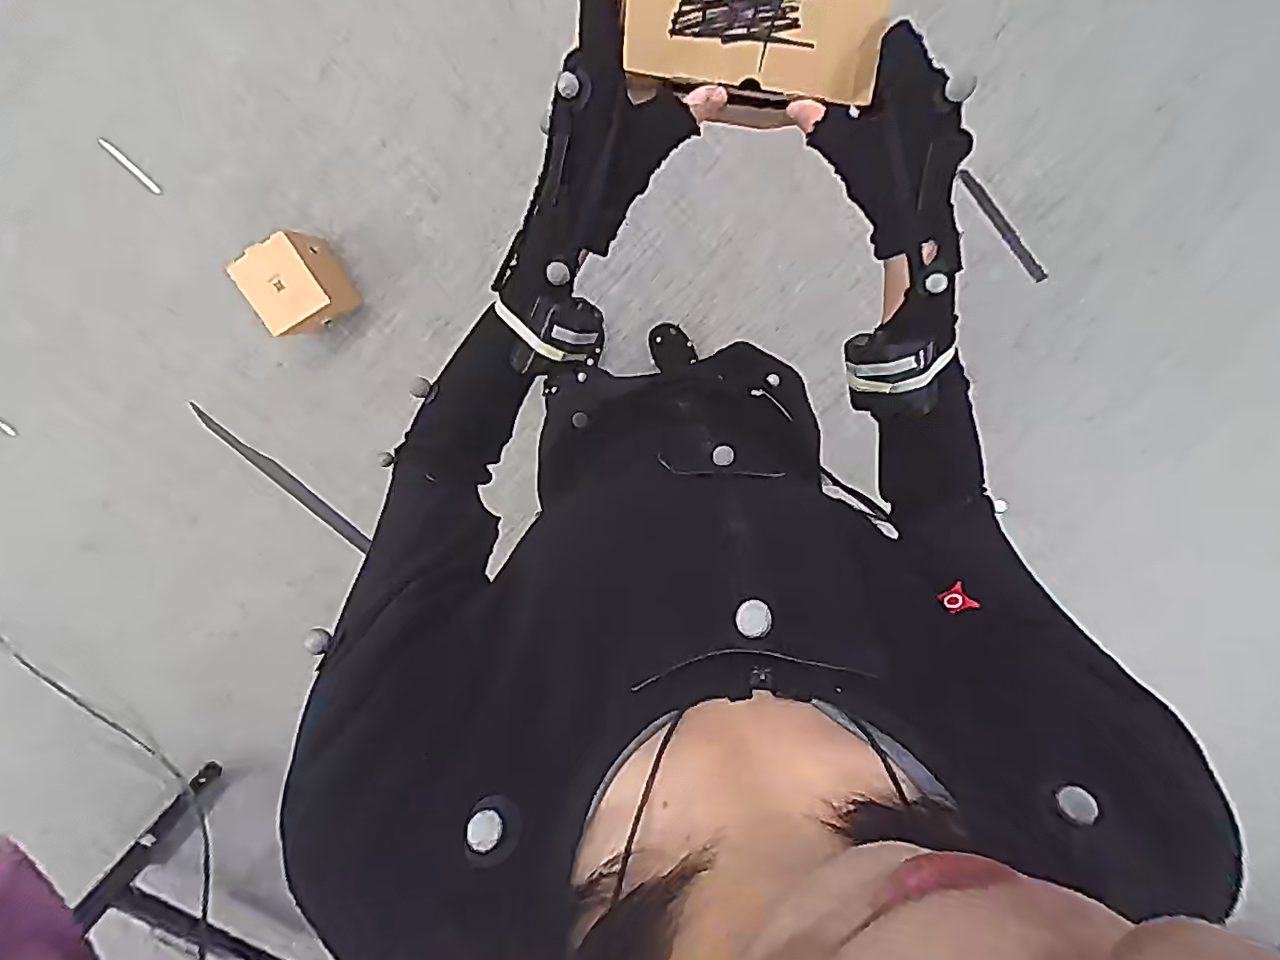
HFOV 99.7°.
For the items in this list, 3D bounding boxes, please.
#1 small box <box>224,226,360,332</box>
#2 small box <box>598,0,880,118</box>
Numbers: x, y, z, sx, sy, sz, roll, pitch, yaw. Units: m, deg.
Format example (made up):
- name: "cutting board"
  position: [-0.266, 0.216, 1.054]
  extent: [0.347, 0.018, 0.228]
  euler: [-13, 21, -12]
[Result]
- name: "small box"
  position: [-0.815, -0.471, 1.286]
  extent: [0.168, 0.176, 0.179]
  euler: [-27, 107, 8]
- name: "small box"
  position: [0.063, -0.370, 0.379]
  extent: [0.168, 0.176, 0.179]
  euler: [0, 119, -11]
